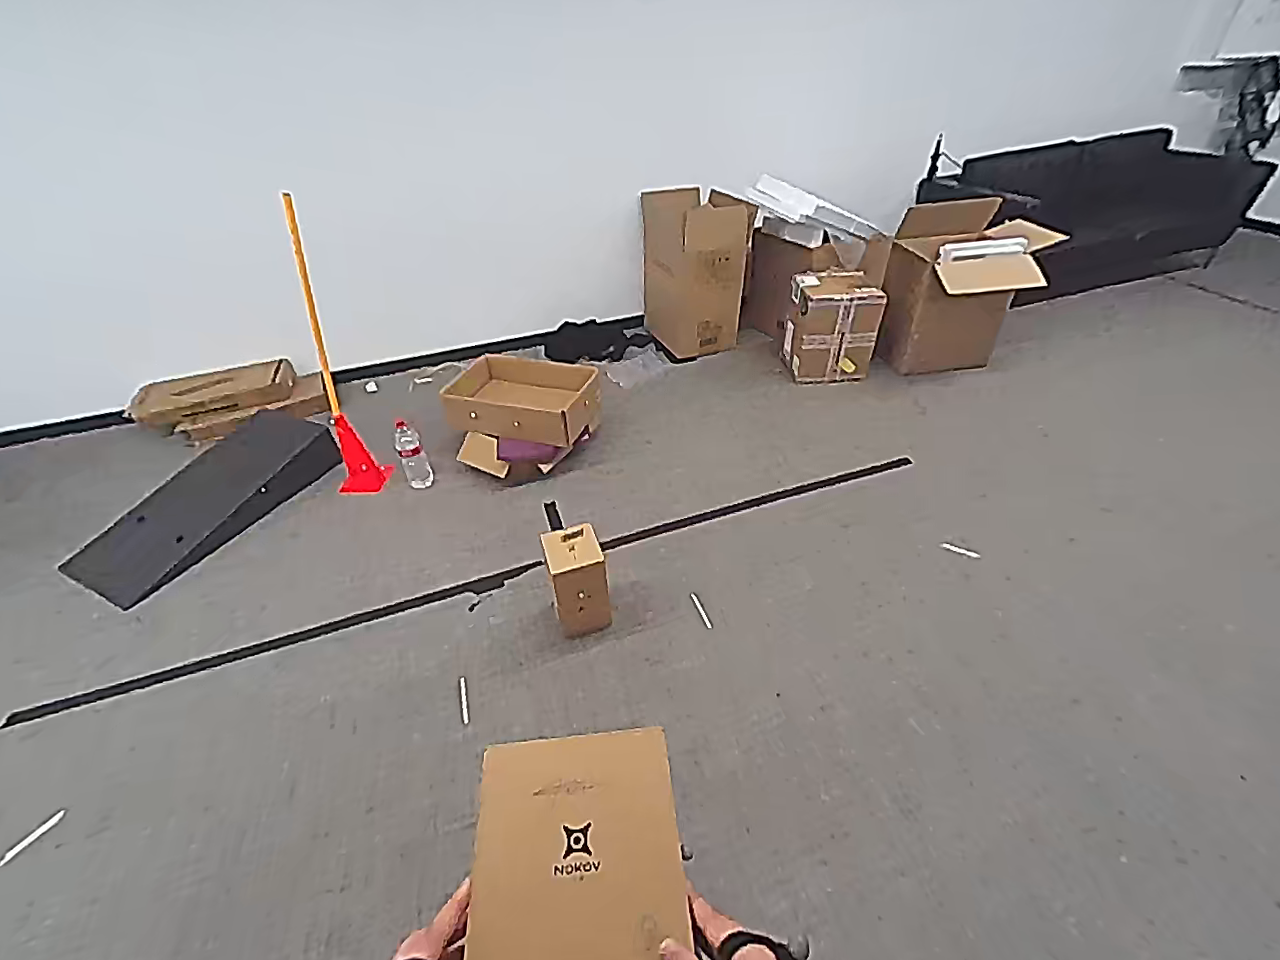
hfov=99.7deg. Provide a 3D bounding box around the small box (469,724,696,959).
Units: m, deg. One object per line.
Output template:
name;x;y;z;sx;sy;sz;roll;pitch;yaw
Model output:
small box;-0.048;0.350;0.489;0.168;0.176;0.179;-4;42;-6

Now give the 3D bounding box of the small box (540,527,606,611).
small box;-0.210;0.280;1.700;0.168;0.176;0.179;-14;41;-13

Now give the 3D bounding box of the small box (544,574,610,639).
small box;-0.209;0.405;1.807;0.179;0.176;0.168;-13;41;-14
